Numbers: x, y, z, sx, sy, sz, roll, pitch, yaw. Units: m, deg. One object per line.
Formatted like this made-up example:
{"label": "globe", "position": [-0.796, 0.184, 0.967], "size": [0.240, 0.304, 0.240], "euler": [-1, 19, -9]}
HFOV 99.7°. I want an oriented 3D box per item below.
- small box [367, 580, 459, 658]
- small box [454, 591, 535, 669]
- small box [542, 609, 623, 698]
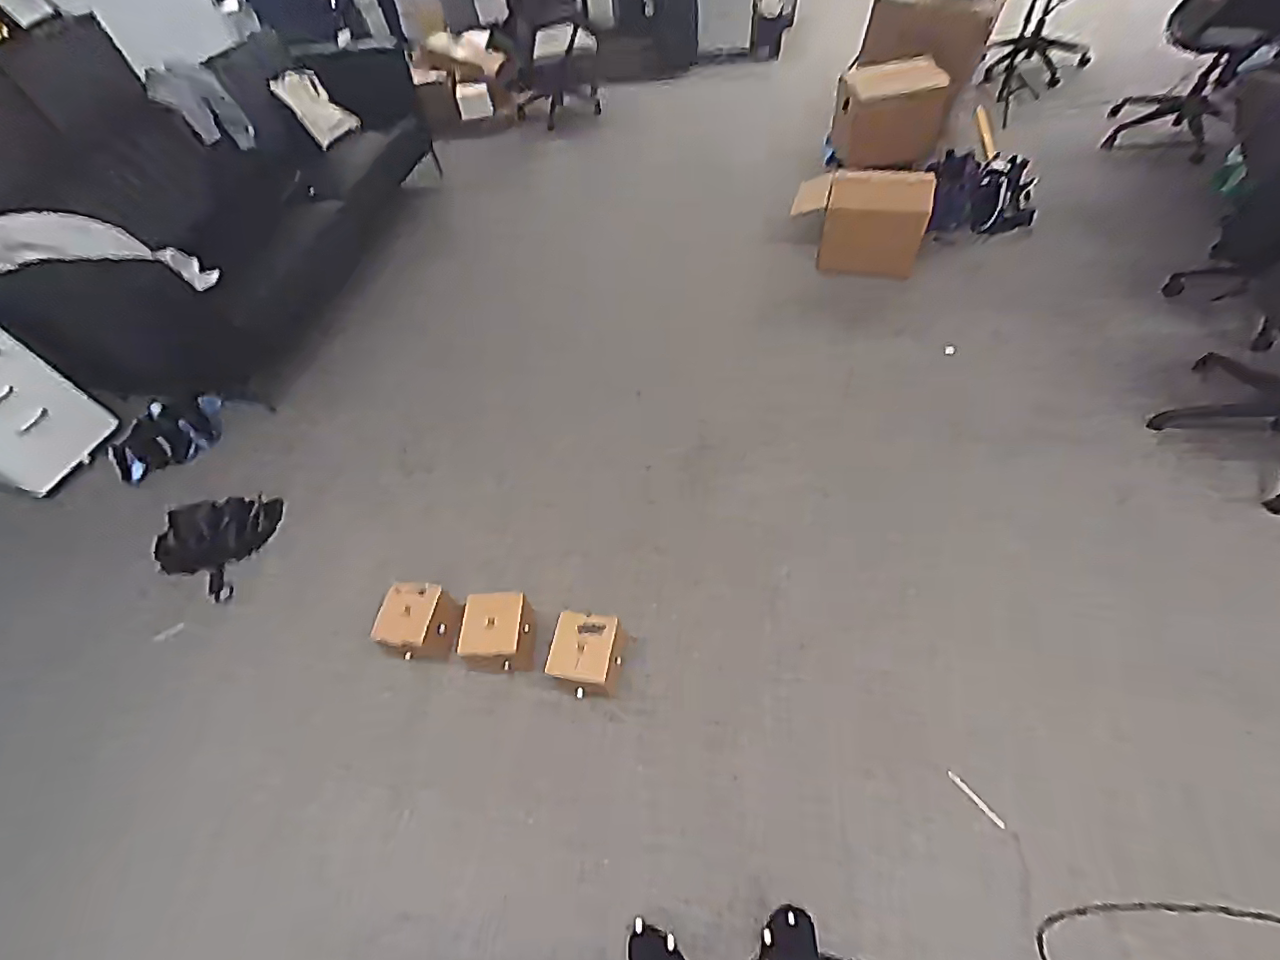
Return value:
{"label": "small box", "position": [-0.660, 0.414, 1.599], "size": [0.168, 0.176, 0.179], "euler": [3, 55, 10]}
{"label": "small box", "position": [-0.408, 0.435, 1.551], "size": [0.168, 0.176, 0.179], "euler": [-3, 52, 4]}
{"label": "small box", "position": [-0.148, 0.477, 1.480], "size": [0.168, 0.176, 0.179], "euler": [5, 56, 12]}
